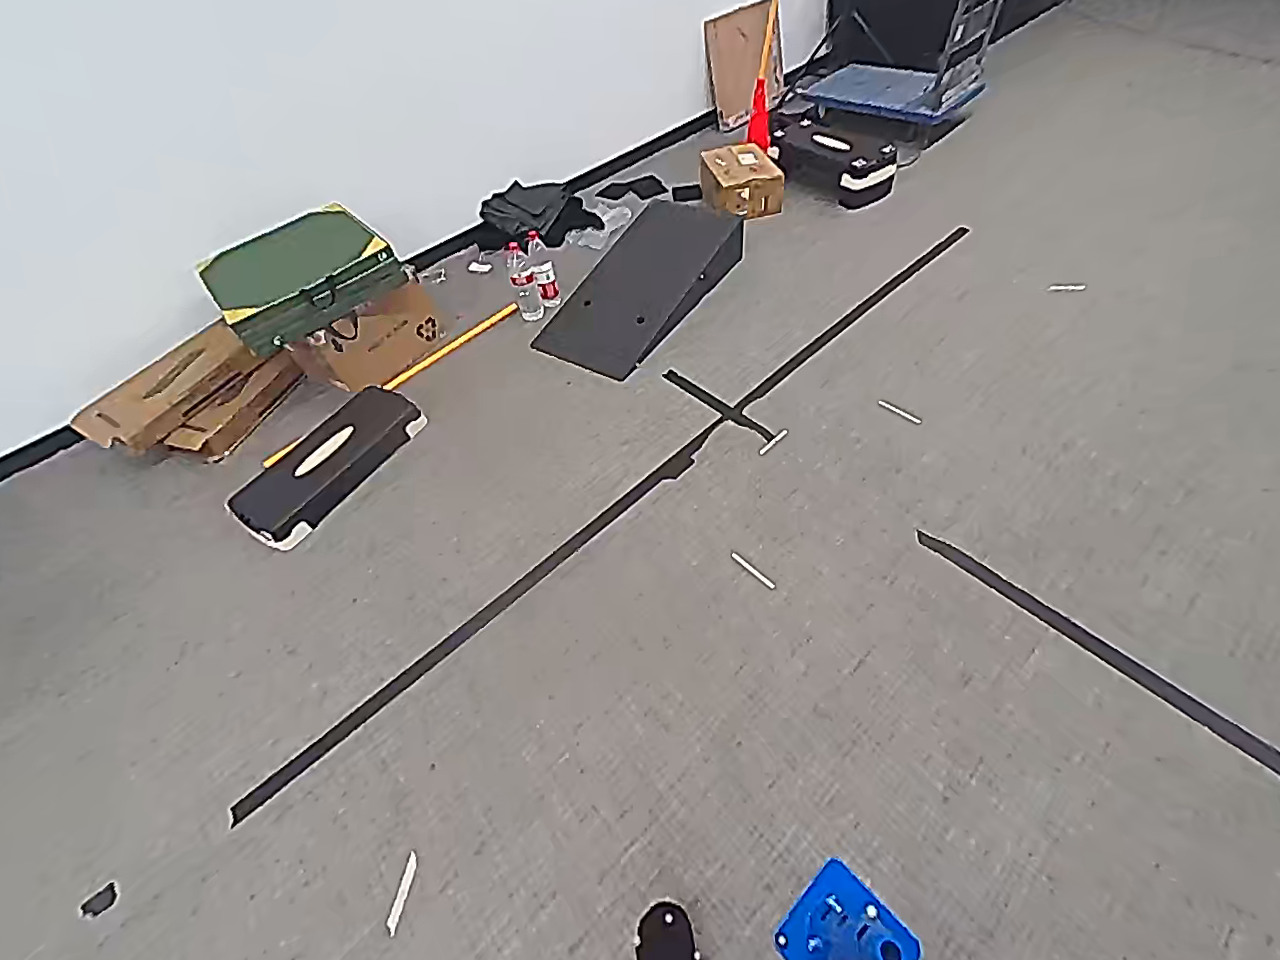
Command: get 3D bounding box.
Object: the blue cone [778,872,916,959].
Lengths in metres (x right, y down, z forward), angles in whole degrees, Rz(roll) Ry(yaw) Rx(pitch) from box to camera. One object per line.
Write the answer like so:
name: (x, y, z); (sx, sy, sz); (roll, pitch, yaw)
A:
blue cone: (0.357, 0.760, 0.863); (0.192, 0.380, 0.193); (-38, 55, -19)
